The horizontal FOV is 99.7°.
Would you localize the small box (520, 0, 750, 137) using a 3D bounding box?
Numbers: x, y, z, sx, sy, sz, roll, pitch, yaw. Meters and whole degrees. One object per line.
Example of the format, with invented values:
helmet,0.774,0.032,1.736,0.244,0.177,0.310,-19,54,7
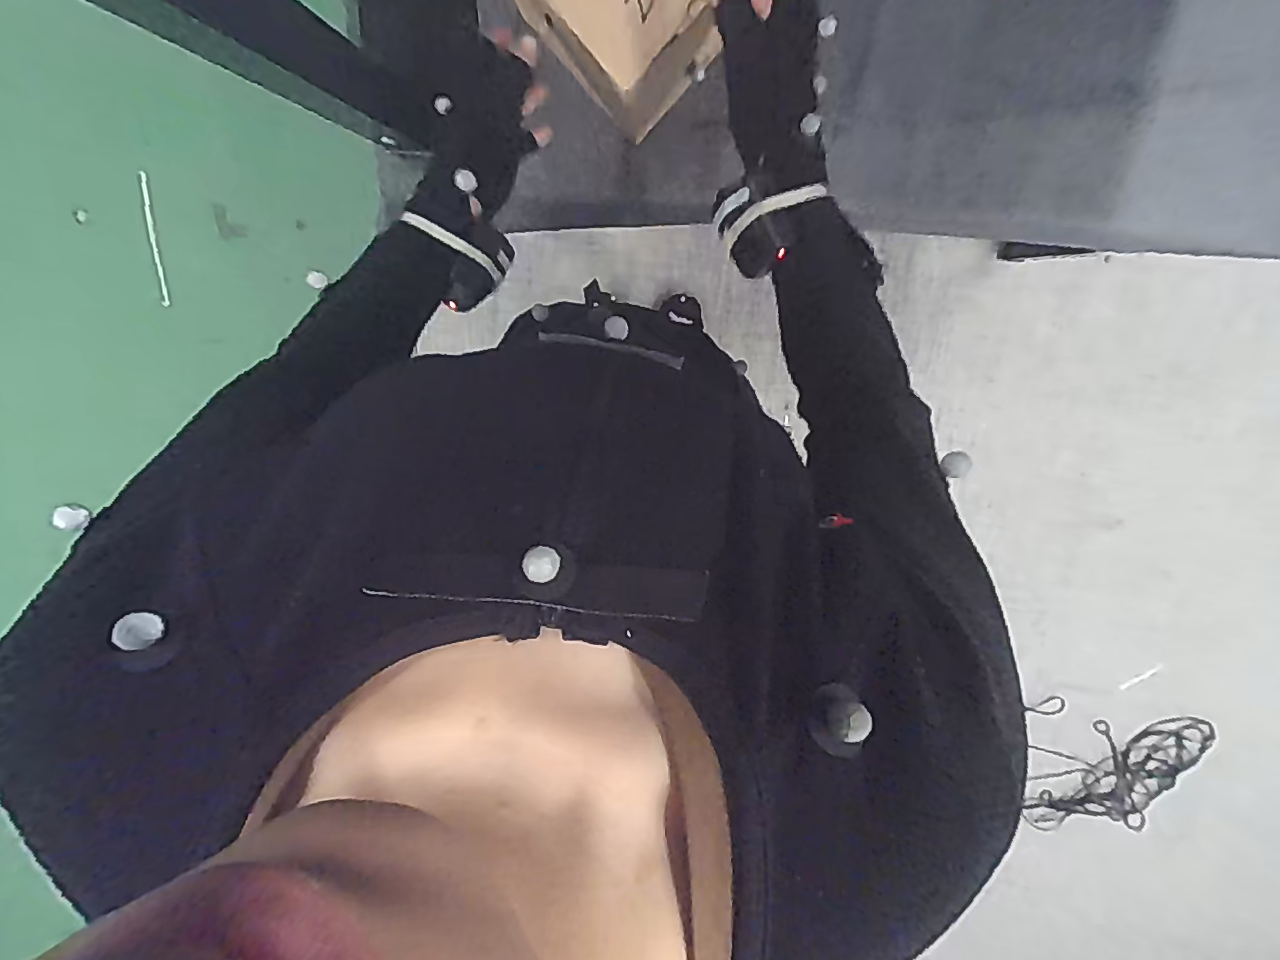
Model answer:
small box,-0.010,-0.464,0.501,0.168,0.176,0.179,-42,102,15
